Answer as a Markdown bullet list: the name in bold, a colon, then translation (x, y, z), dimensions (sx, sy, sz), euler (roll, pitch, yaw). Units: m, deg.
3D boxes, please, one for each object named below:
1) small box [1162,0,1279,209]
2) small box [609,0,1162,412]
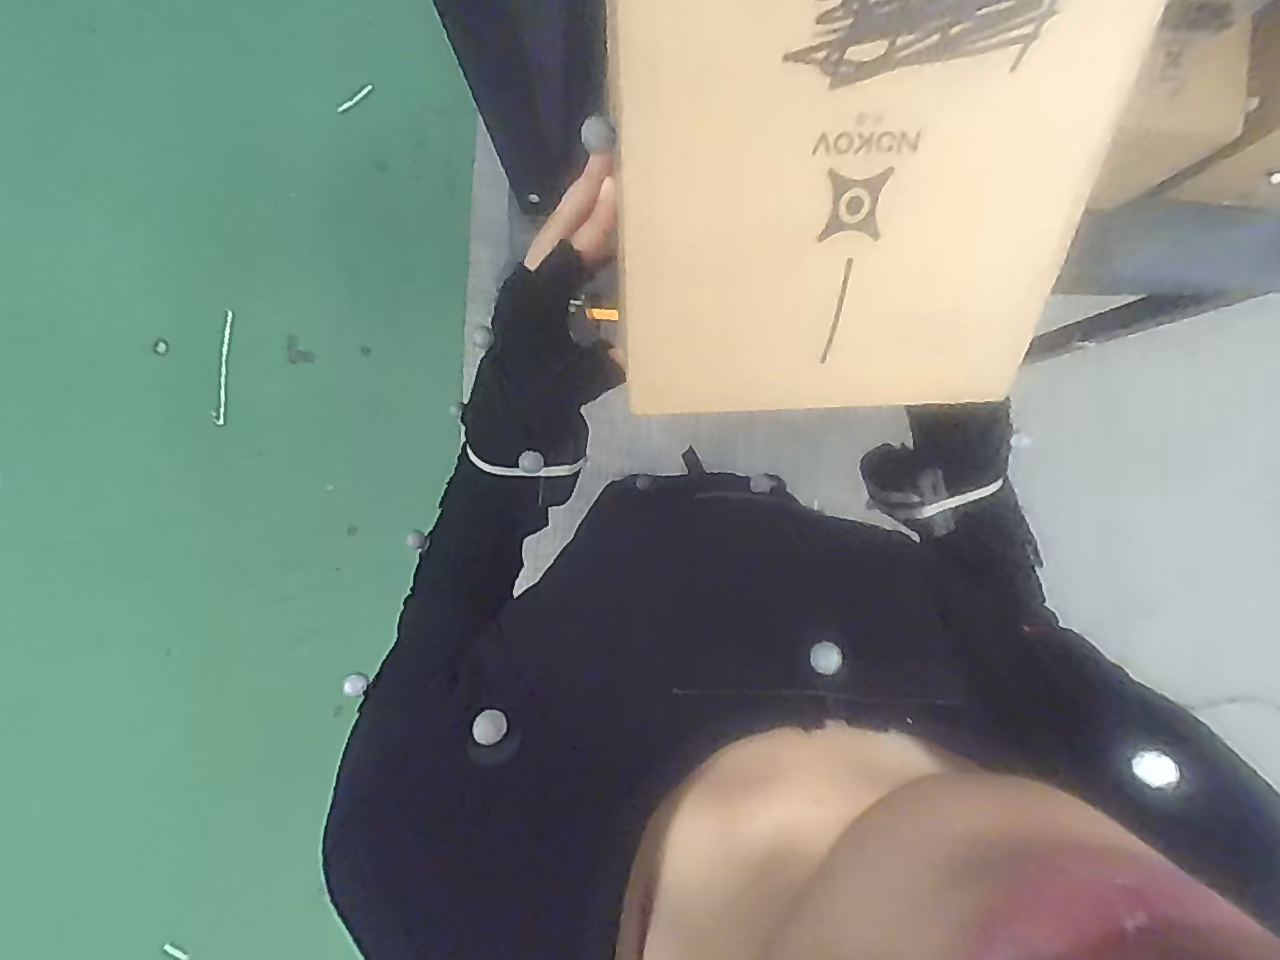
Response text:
- **small box**: translation (0.824, -0.474, 0.687), dimensions (0.168, 0.176, 0.179), euler (6, 89, 0)
- **small box**: translation (0.071, -0.148, 0.254), dimensions (0.168, 0.176, 0.179), euler (-2, 124, -2)
